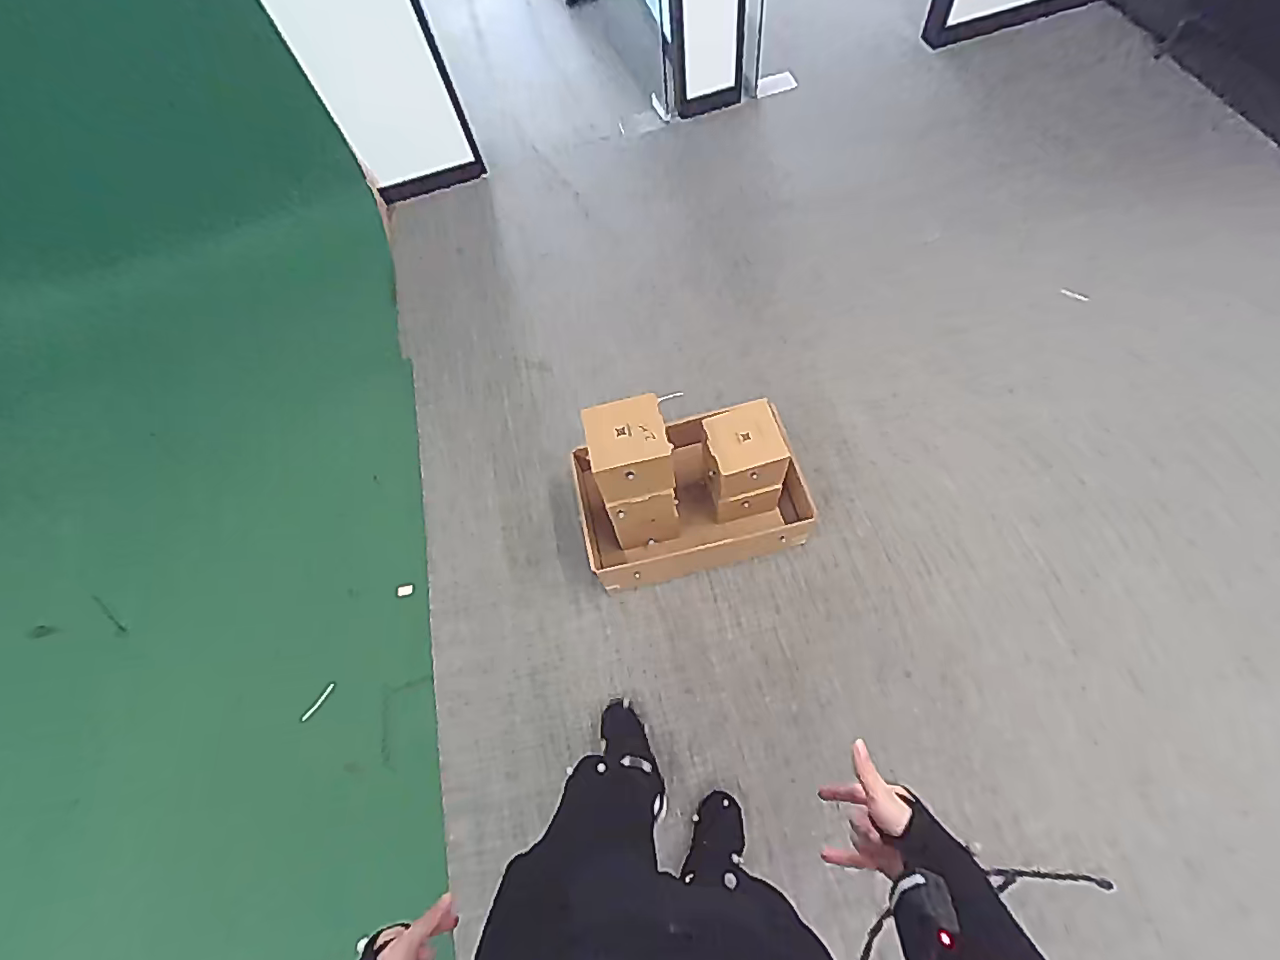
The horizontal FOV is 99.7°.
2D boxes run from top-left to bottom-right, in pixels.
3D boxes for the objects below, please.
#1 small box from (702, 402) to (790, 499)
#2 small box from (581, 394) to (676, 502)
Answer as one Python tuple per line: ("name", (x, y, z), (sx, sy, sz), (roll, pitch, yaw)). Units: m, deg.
("small box", (0.266, -0.068, 1.385), (0.179, 0.176, 0.168), (-16, 65, 0))
("small box", (-0.023, -0.066, 1.237), (0.179, 0.176, 0.168), (-13, 63, 1))
